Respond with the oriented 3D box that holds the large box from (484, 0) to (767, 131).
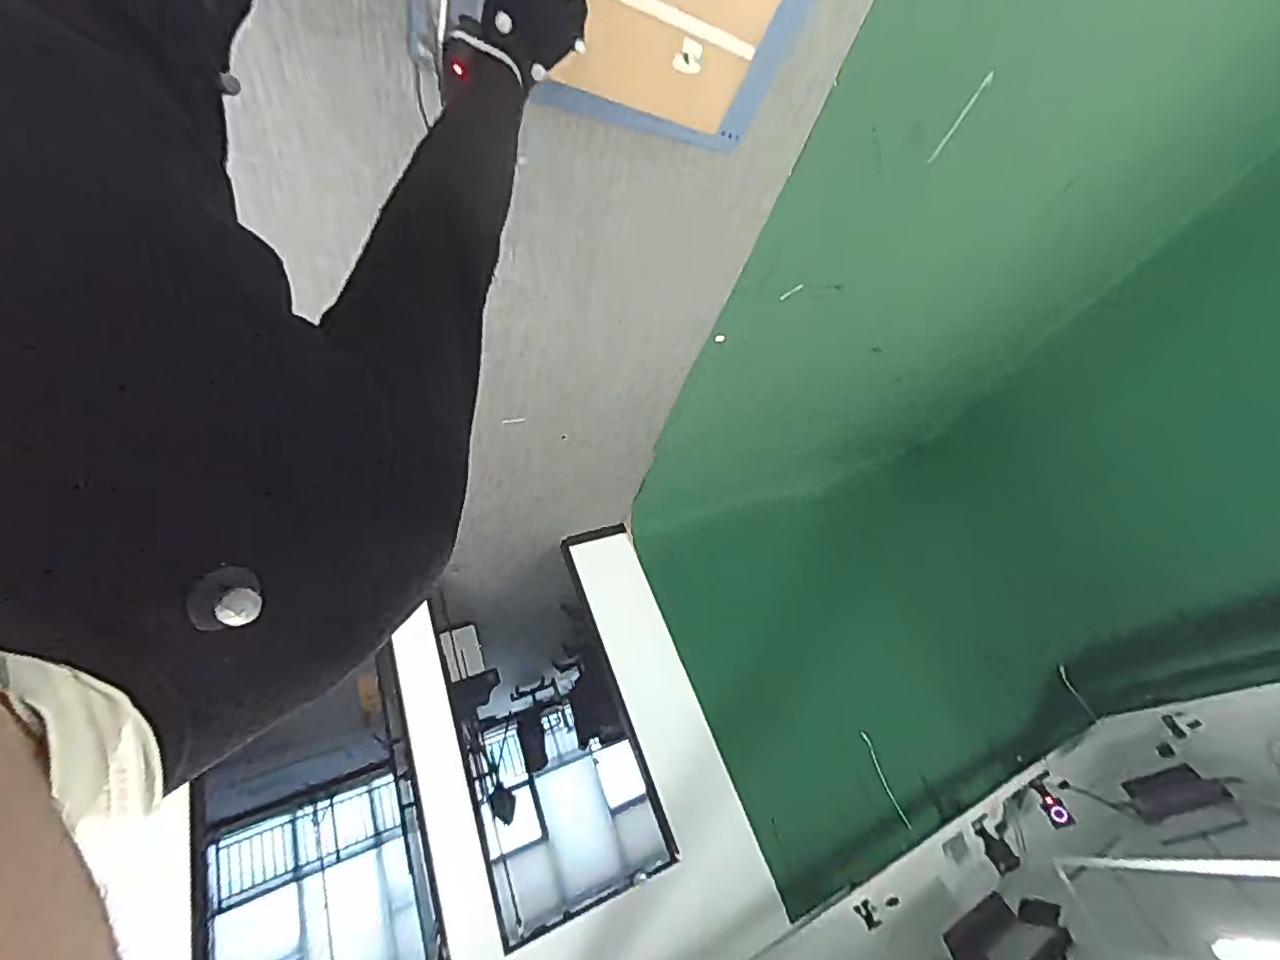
[{"bbox_3d":[-0.029,-0.920,0.987,0.408,0.320,0.320,-7,149,-34],"label":"large box"}]
